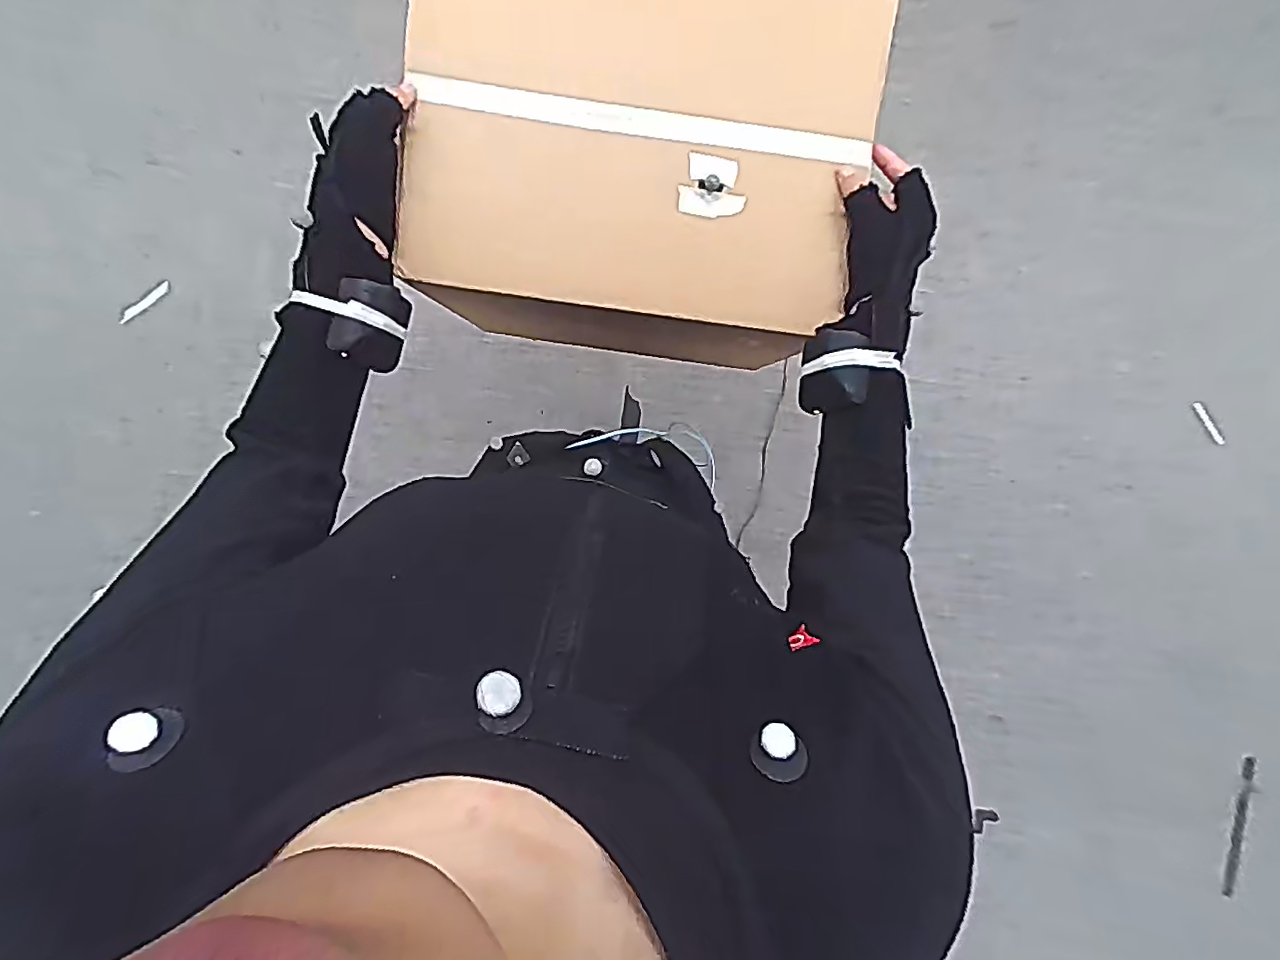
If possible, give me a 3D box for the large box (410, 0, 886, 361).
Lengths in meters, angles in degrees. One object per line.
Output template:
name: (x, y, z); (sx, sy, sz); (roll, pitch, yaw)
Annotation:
large box: (-0.003, -0.330, 0.629); (0.408, 0.320, 0.320); (7, 97, -3)
